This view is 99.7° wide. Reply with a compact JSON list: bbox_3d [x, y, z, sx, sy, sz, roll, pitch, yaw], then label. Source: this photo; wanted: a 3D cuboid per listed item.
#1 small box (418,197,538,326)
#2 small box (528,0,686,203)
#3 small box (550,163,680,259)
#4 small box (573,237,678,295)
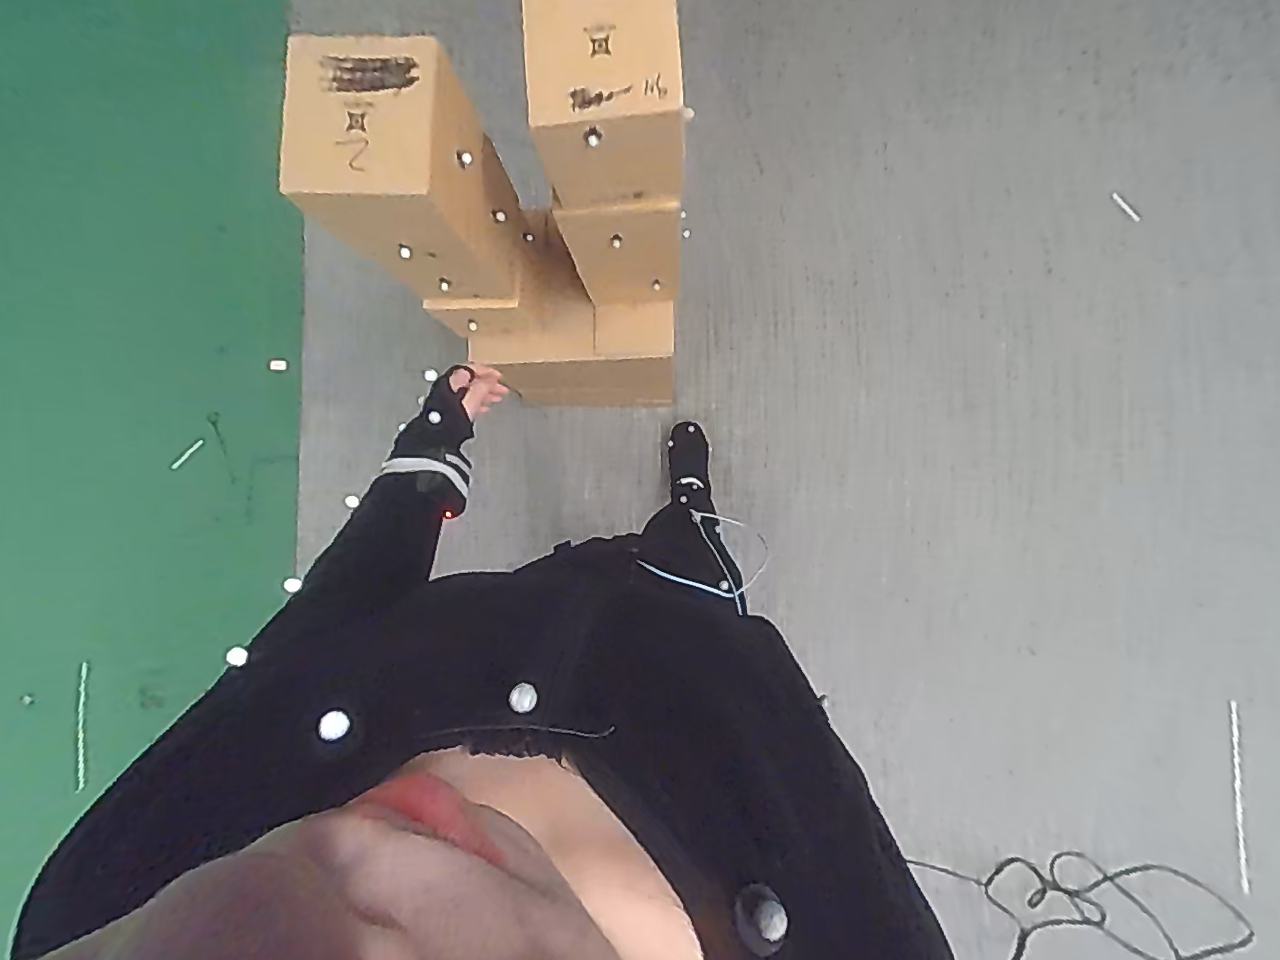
[{"bbox_3d":[-0.284,-0.386,0.981,0.168,0.176,0.179,1,89,2],"label":"small box"},{"bbox_3d":[-0.032,-0.462,0.642,0.168,0.176,0.179,-2,88,4],"label":"small box"},{"bbox_3d":[-0.029,-0.445,0.806,0.179,0.176,0.168,0,89,5],"label":"small box"},{"bbox_3d":[-0.021,-0.442,0.970,0.179,0.176,0.168,-1,89,5],"label":"small box"}]
